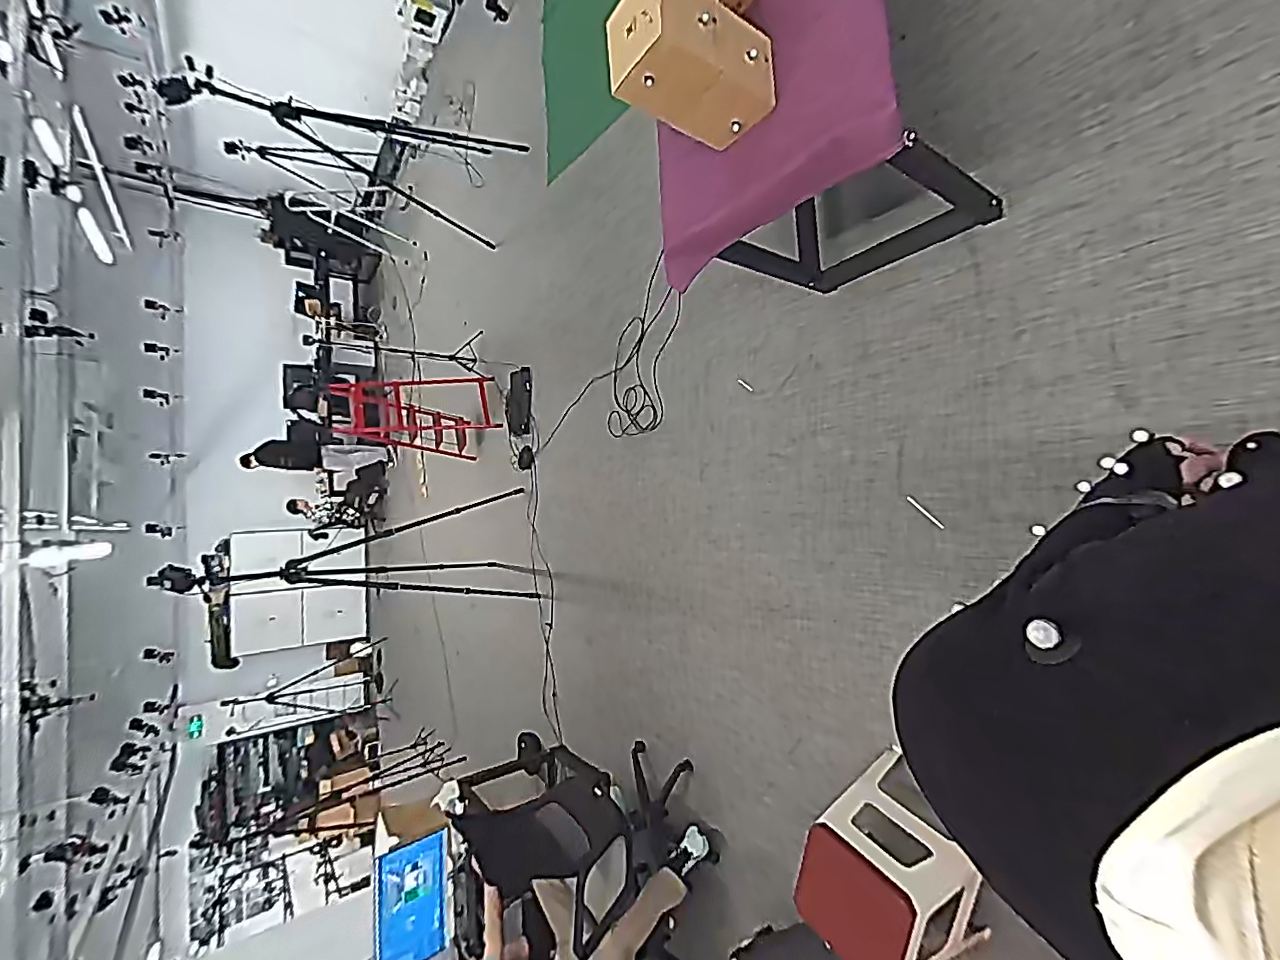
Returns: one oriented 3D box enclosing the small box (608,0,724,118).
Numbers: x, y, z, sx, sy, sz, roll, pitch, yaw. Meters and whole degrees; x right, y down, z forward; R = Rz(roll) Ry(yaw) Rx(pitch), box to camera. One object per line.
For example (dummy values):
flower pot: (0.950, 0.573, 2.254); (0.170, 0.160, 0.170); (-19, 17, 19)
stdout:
small box: (0.053, -0.907, 1.128); (0.179, 0.176, 0.168); (-10, 83, 53)

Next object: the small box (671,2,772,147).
small box: (0.184, -0.905, 1.228); (0.179, 0.176, 0.168); (-10, 82, 53)
